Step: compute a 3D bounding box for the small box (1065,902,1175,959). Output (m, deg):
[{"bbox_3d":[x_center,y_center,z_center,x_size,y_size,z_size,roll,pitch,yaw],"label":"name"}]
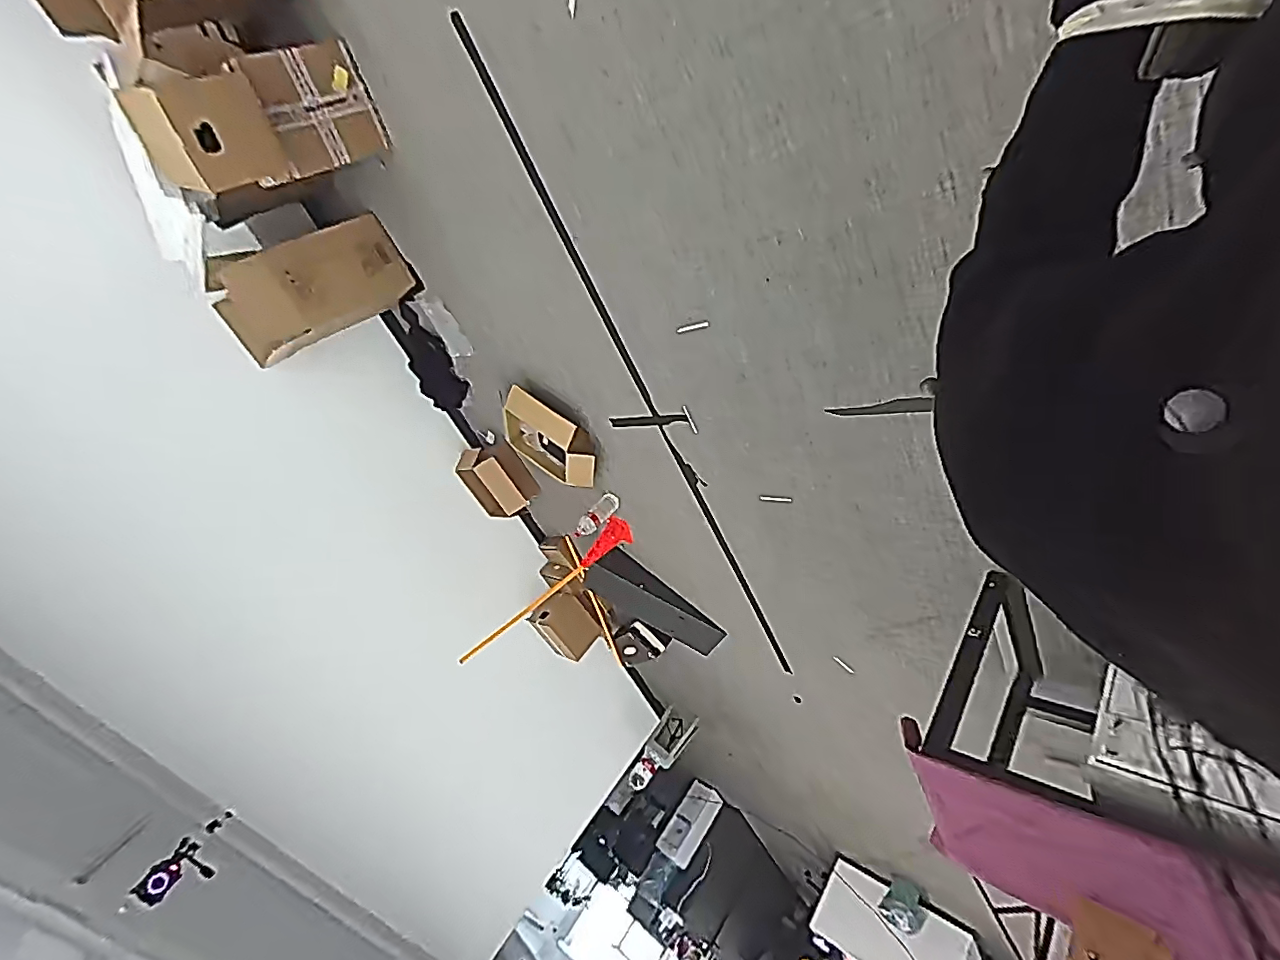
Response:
[{"bbox_3d":[1.138,1.154,1.285,0.179,0.176,0.168,6,131,46],"label":"small box"}]
